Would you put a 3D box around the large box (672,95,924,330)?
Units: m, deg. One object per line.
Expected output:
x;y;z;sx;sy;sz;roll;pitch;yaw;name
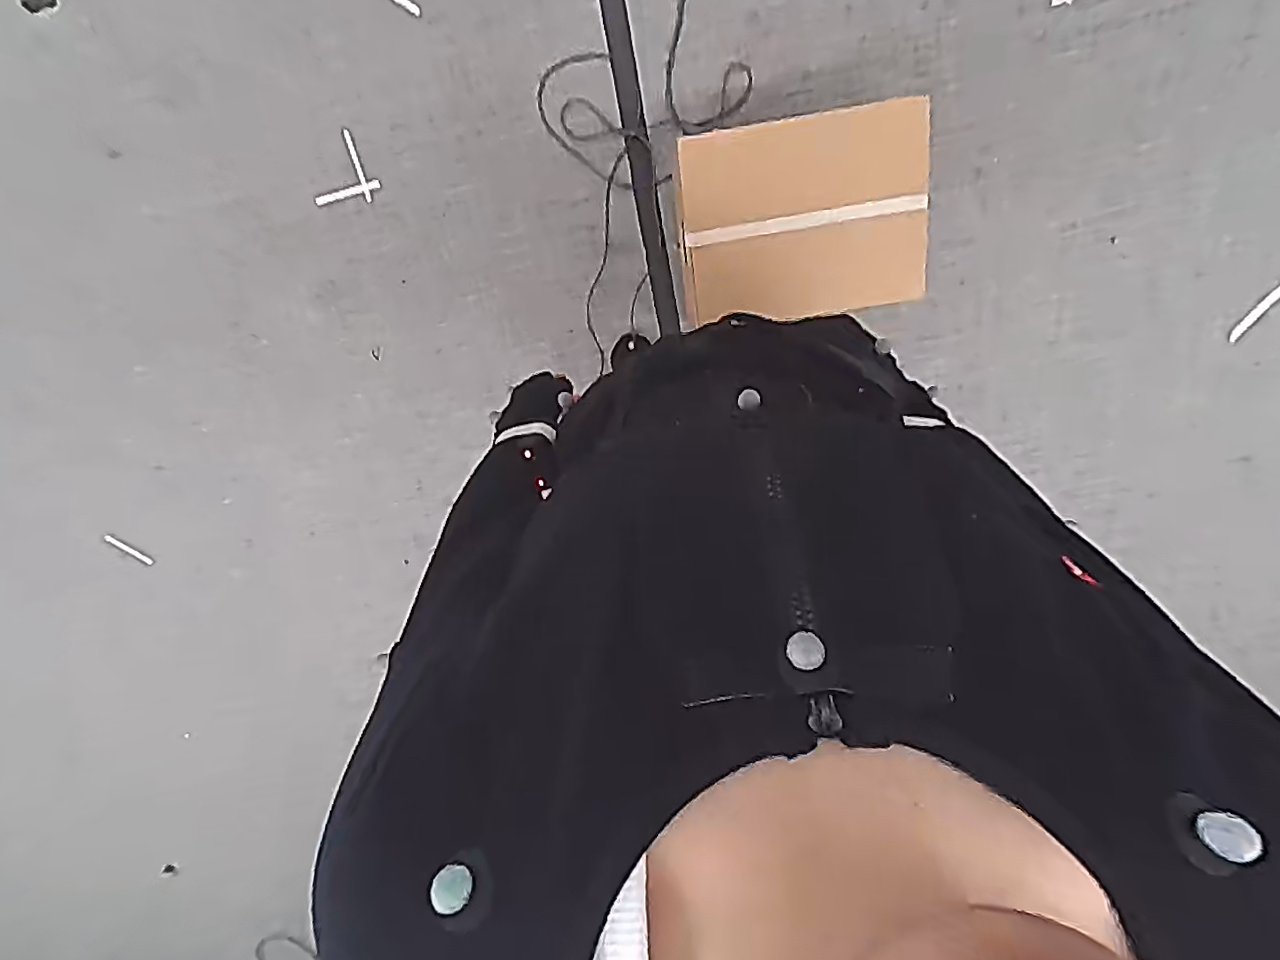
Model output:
0.283;-0.496;1.067;0.408;0.320;0.320;-7;111;5;large box
